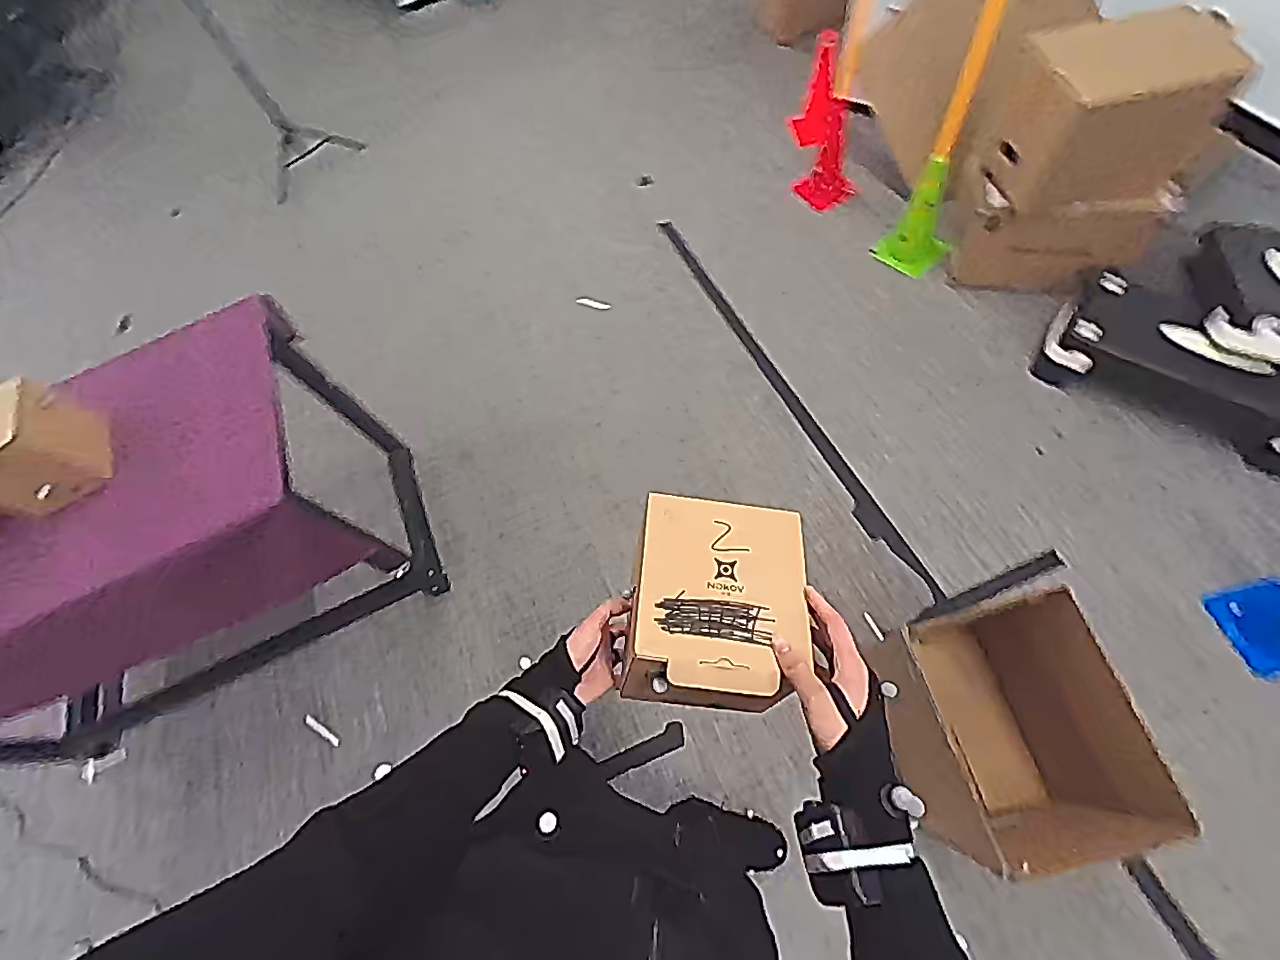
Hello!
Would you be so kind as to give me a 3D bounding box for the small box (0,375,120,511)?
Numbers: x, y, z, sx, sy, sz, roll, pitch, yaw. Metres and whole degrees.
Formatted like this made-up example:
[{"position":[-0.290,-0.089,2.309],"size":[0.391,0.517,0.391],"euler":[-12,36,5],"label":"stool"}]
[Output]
[{"position":[-1.194,-0.068,1.077],"size":[0.168,0.176,0.179],"euler":[-29,64,-4],"label":"small box"}]
